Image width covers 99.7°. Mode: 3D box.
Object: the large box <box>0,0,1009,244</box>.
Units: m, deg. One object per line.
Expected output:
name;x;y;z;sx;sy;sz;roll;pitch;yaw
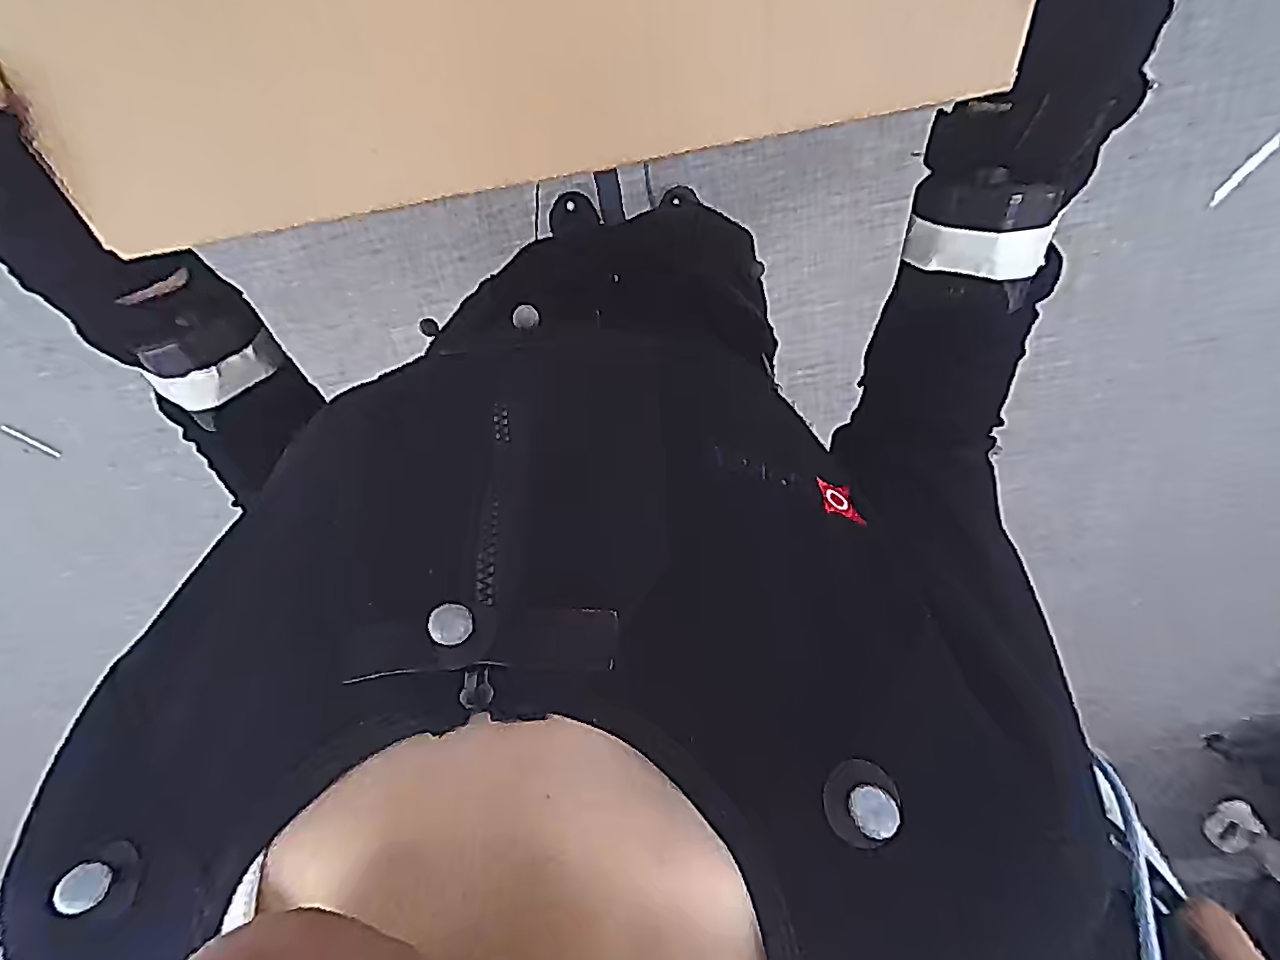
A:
large box;-0.076;-0.354;0.264;0.408;0.320;0.320;-8;131;5
